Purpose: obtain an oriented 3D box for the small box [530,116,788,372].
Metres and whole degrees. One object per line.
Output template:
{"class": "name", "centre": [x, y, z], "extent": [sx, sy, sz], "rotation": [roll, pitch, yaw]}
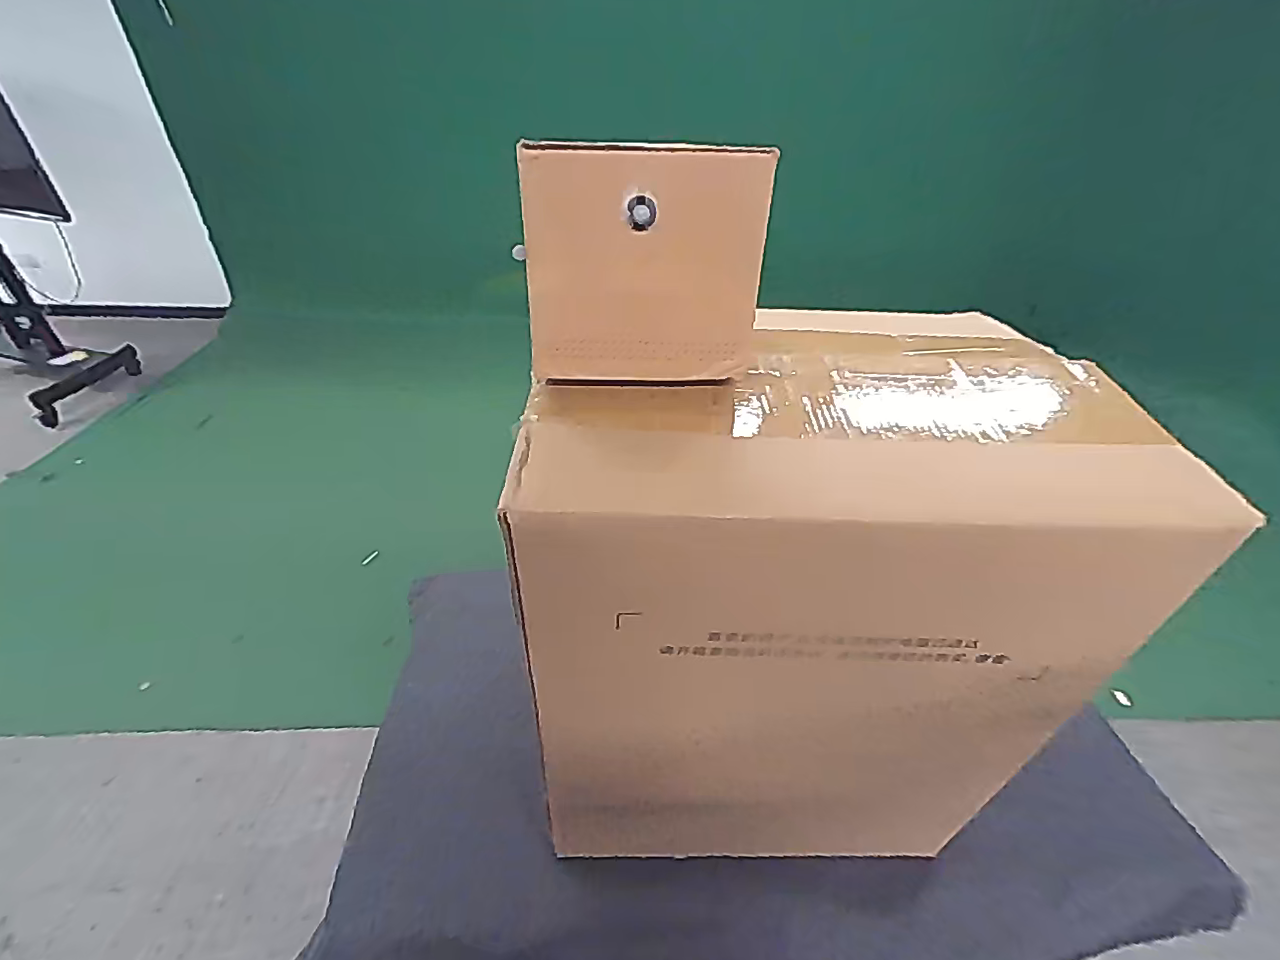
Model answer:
{"class": "small box", "centre": [0.006, -0.198, 0.462], "extent": [0.179, 0.176, 0.168], "rotation": [1, 31, -5]}
